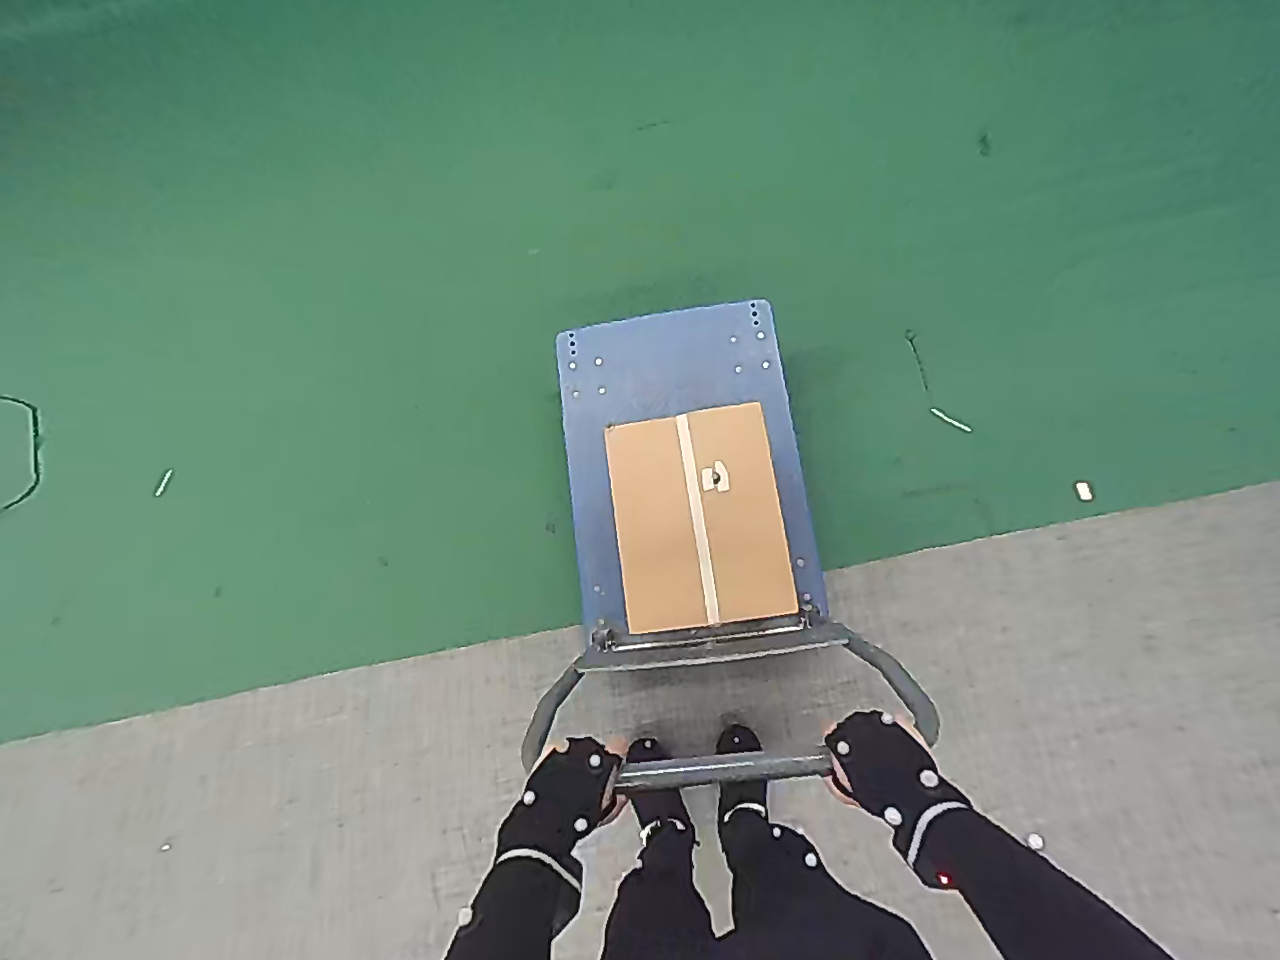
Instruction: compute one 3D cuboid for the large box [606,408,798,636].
[{"bbox_3d":[0.128,0.103,1.171,0.320,0.320,0.408,-9,78,5],"label":"large box"}]
